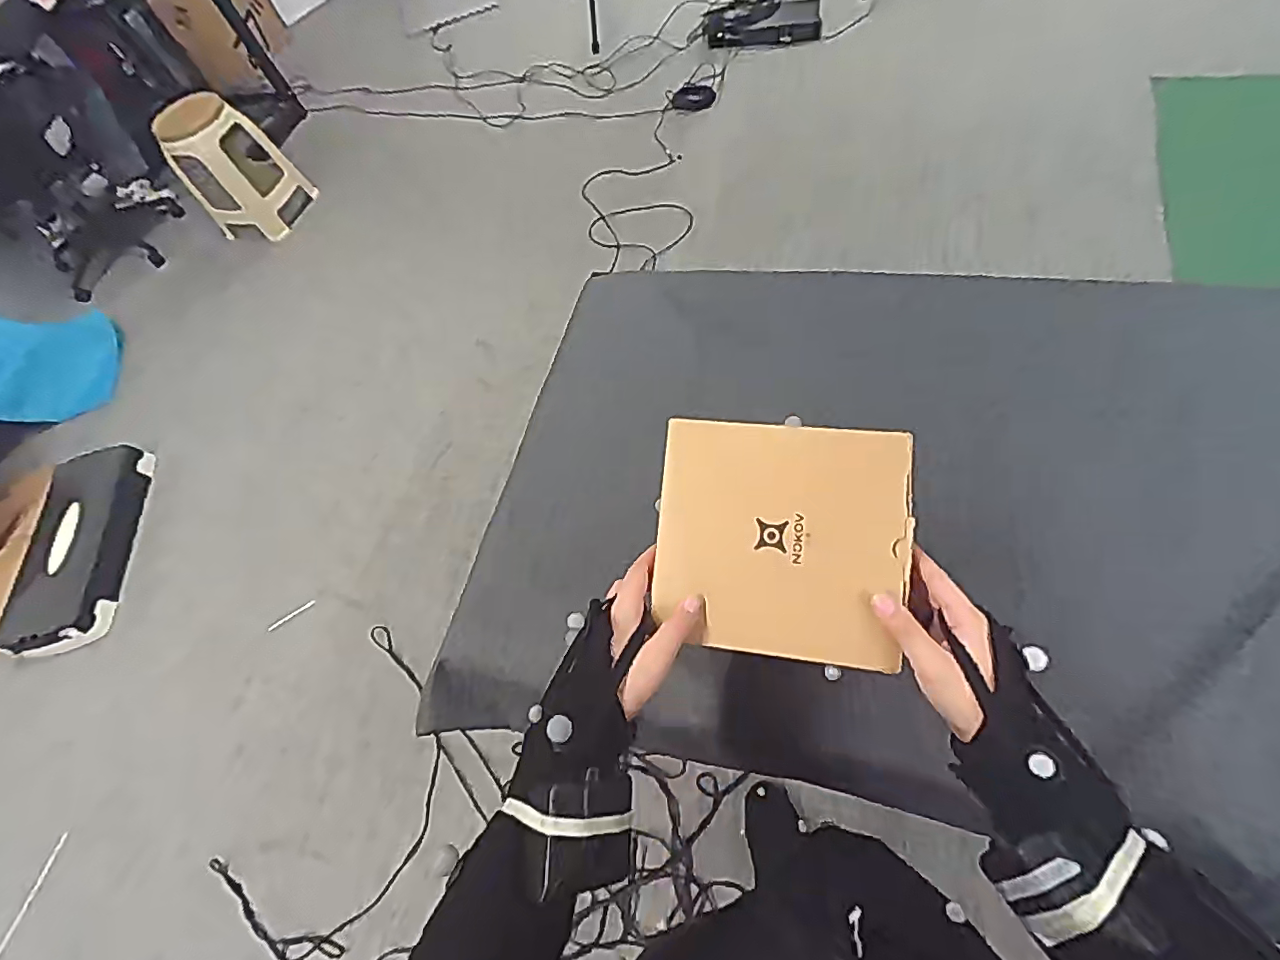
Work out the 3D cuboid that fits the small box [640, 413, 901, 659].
[{"bbox_3d":[0.107,0.048,0.466,0.179,0.176,0.168,4,81,10],"label":"small box"}]
